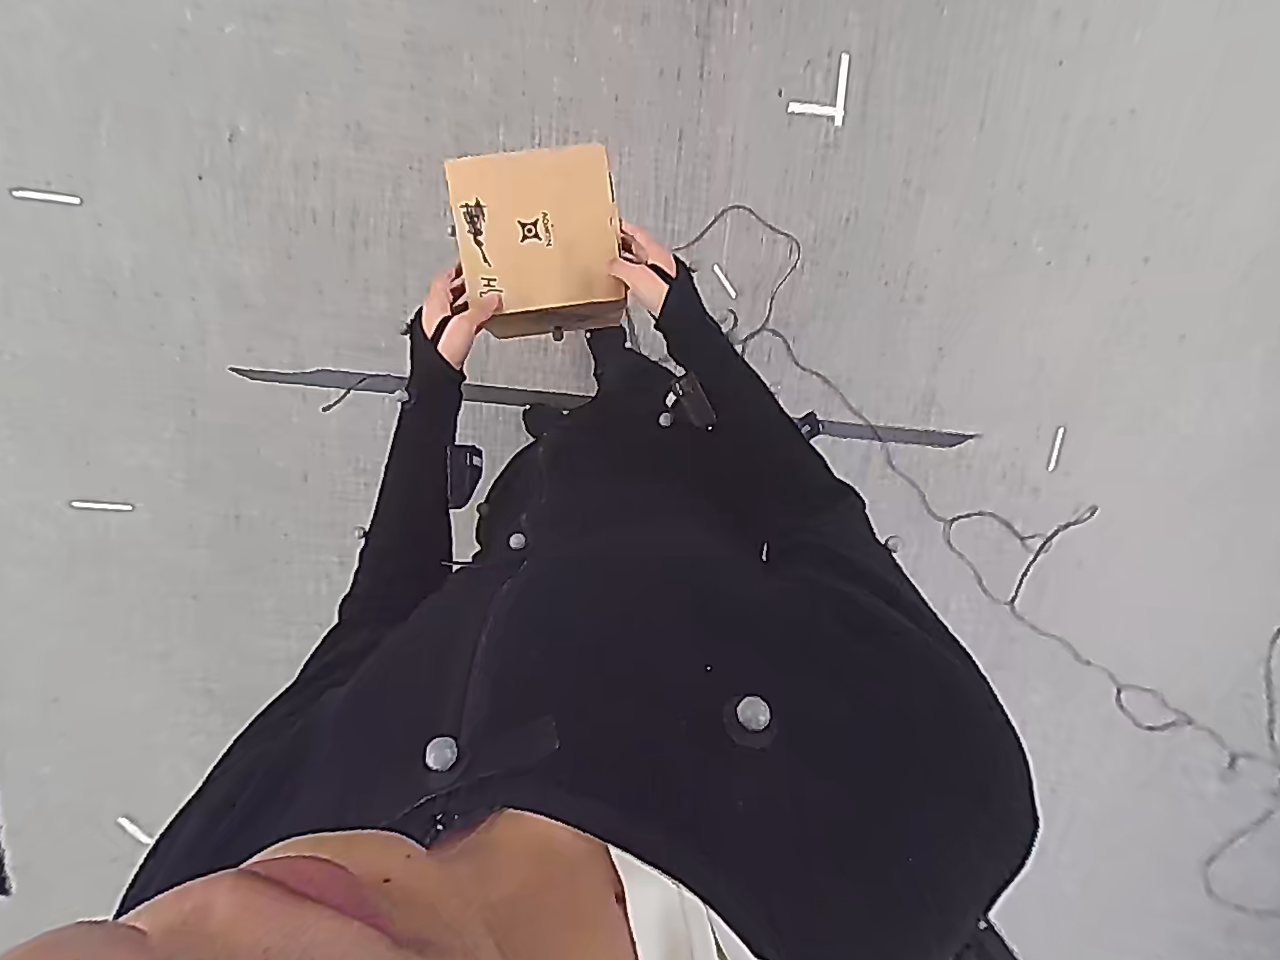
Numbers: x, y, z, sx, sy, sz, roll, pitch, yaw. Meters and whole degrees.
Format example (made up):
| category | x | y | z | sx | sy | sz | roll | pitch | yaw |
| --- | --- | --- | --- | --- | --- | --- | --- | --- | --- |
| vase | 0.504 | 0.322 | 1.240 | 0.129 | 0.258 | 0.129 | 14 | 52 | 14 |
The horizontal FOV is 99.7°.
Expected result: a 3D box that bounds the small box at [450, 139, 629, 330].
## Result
| category | x | y | z | sx | sy | sz | roll | pitch | yaw |
| --- | --- | --- | --- | --- | --- | --- | --- | --- | --- |
| small box | -0.114 | -0.285 | 0.660 | 0.179 | 0.176 | 0.168 | -7 | 97 | -4 |
